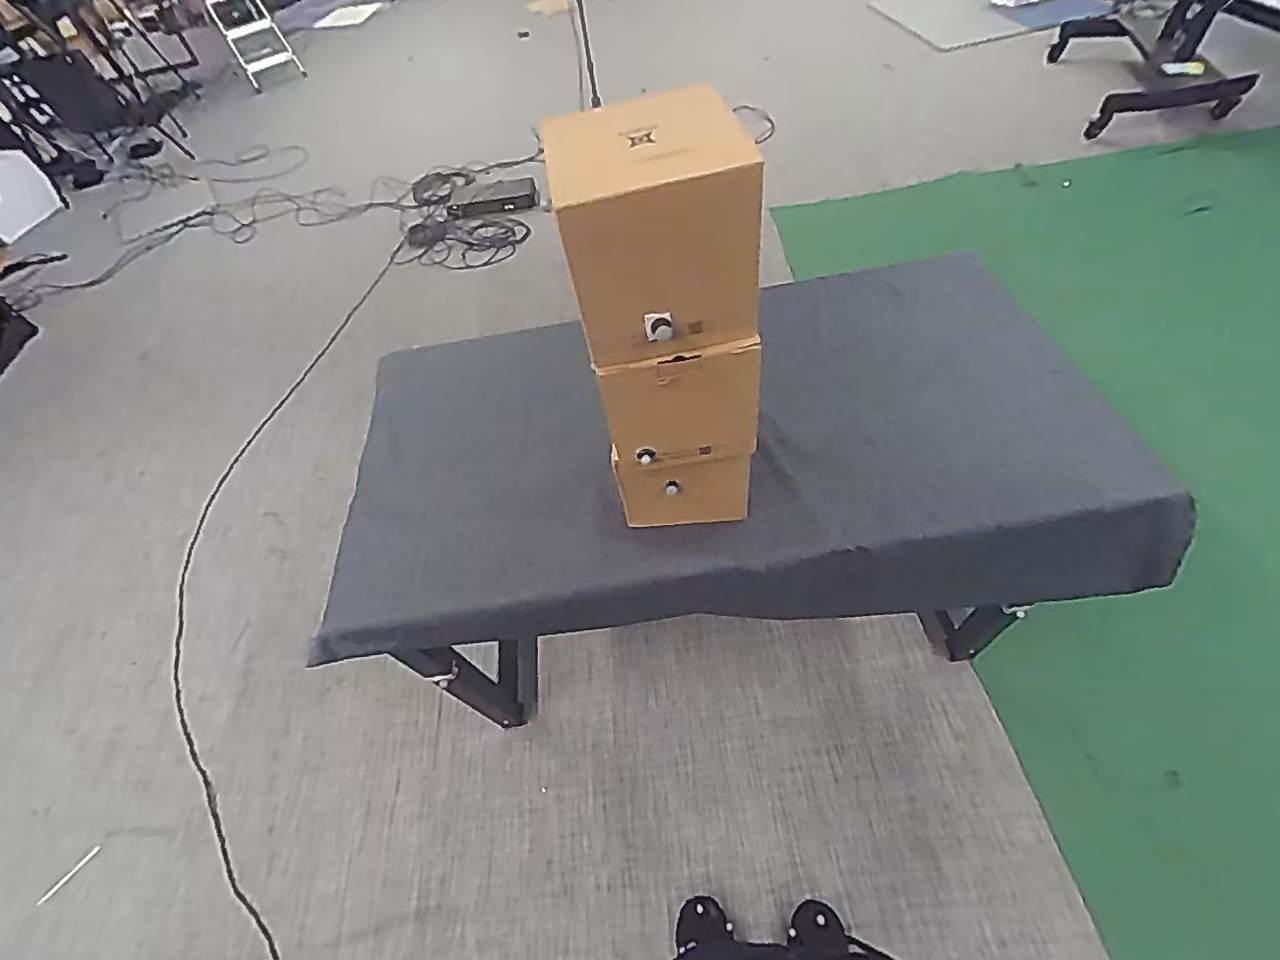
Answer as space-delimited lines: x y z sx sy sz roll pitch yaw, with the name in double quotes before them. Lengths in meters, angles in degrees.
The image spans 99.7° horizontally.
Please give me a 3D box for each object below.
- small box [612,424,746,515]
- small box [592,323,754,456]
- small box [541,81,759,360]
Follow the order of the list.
"small box" 0.058 -0.062 0.795 0.179 0.176 0.168 -7 52 3
"small box" 0.035 -0.146 0.652 0.168 0.176 0.179 -12 55 1
"small box" 0.009 -0.247 0.528 0.168 0.176 0.179 -13 54 1
